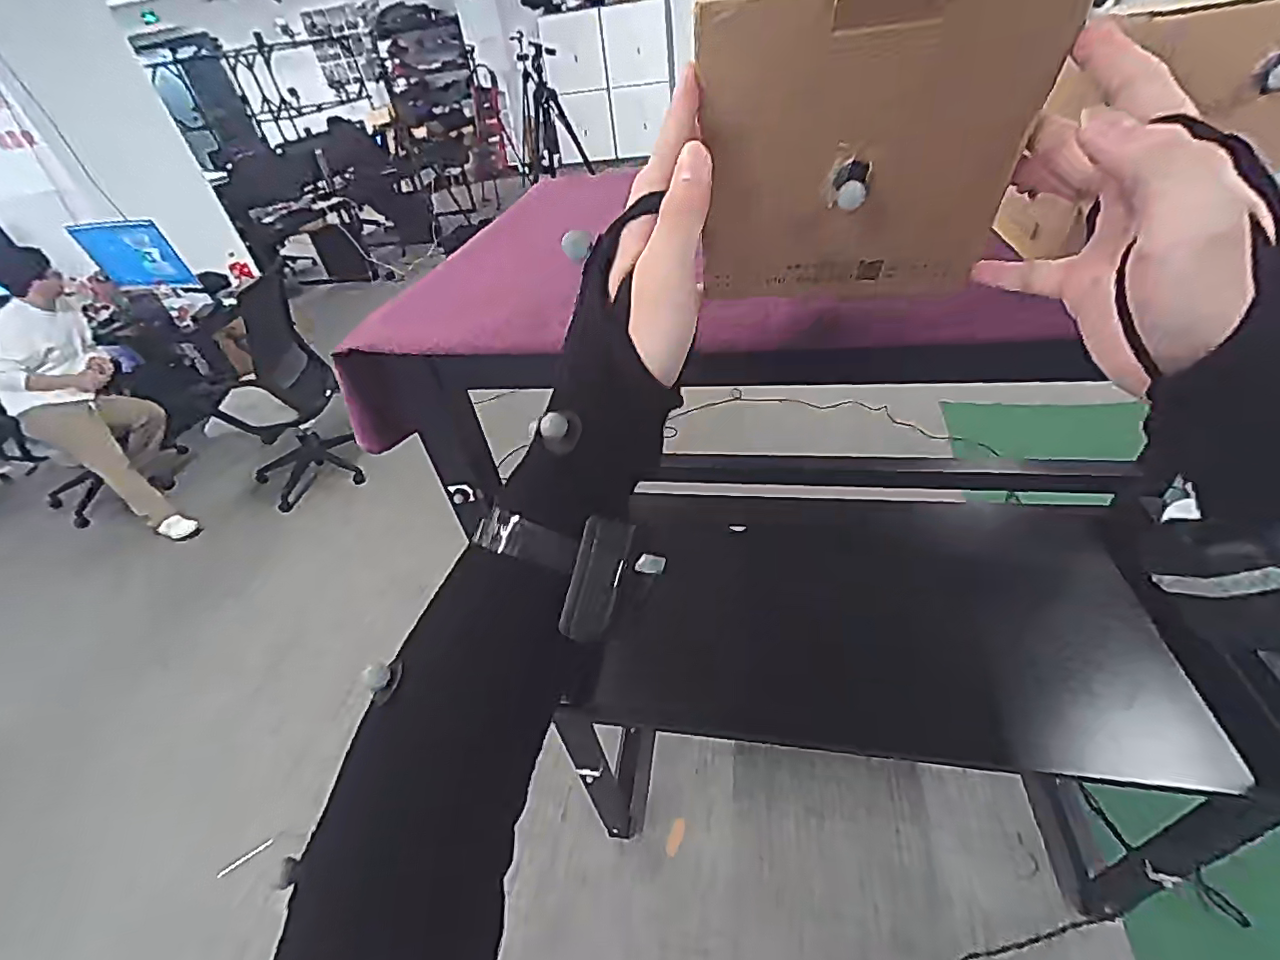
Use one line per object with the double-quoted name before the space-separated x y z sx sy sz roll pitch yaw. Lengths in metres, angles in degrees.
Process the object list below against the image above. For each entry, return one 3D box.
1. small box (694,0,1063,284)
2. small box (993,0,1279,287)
"small box" 0.127 -0.243 0.345 0.168 0.176 0.179 1 58 10
"small box" 0.417 -0.264 0.425 0.179 0.176 0.168 1 39 14
